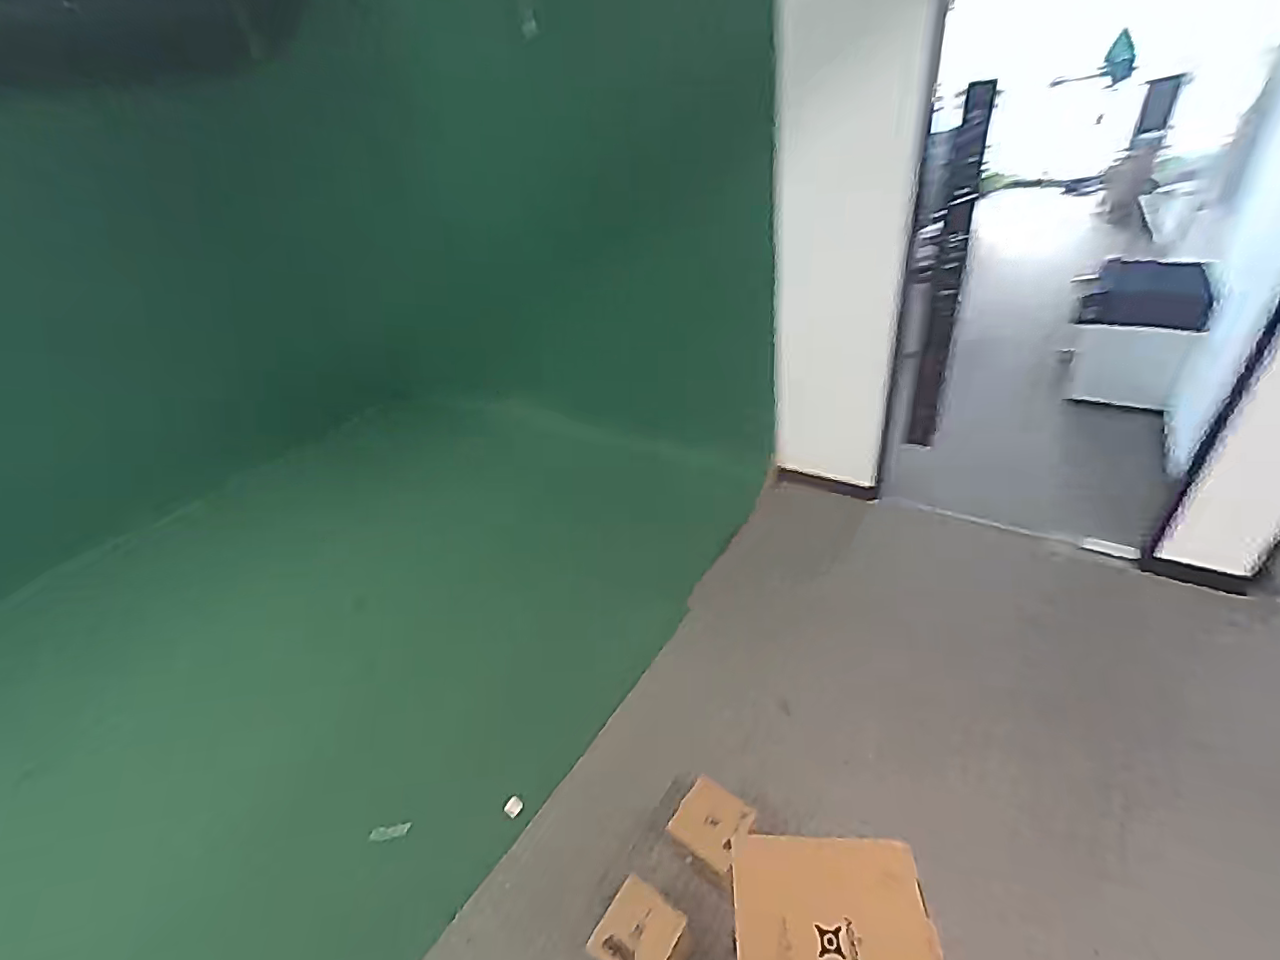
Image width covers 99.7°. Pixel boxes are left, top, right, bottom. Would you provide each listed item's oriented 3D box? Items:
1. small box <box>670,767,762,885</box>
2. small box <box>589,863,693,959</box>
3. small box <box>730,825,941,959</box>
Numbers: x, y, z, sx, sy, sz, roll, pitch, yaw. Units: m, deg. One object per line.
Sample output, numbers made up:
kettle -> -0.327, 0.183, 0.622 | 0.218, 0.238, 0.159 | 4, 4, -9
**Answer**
small box -> 0.203, 0.904, 1.412 | 0.179, 0.176, 0.168 | 20, 45, 36
small box -> 0.011, 1.053, 1.253 | 0.168, 0.176, 0.179 | 20, 44, 34
small box -> 0.179, 0.461, 0.526 | 0.179, 0.176, 0.168 | -3, 38, 8
